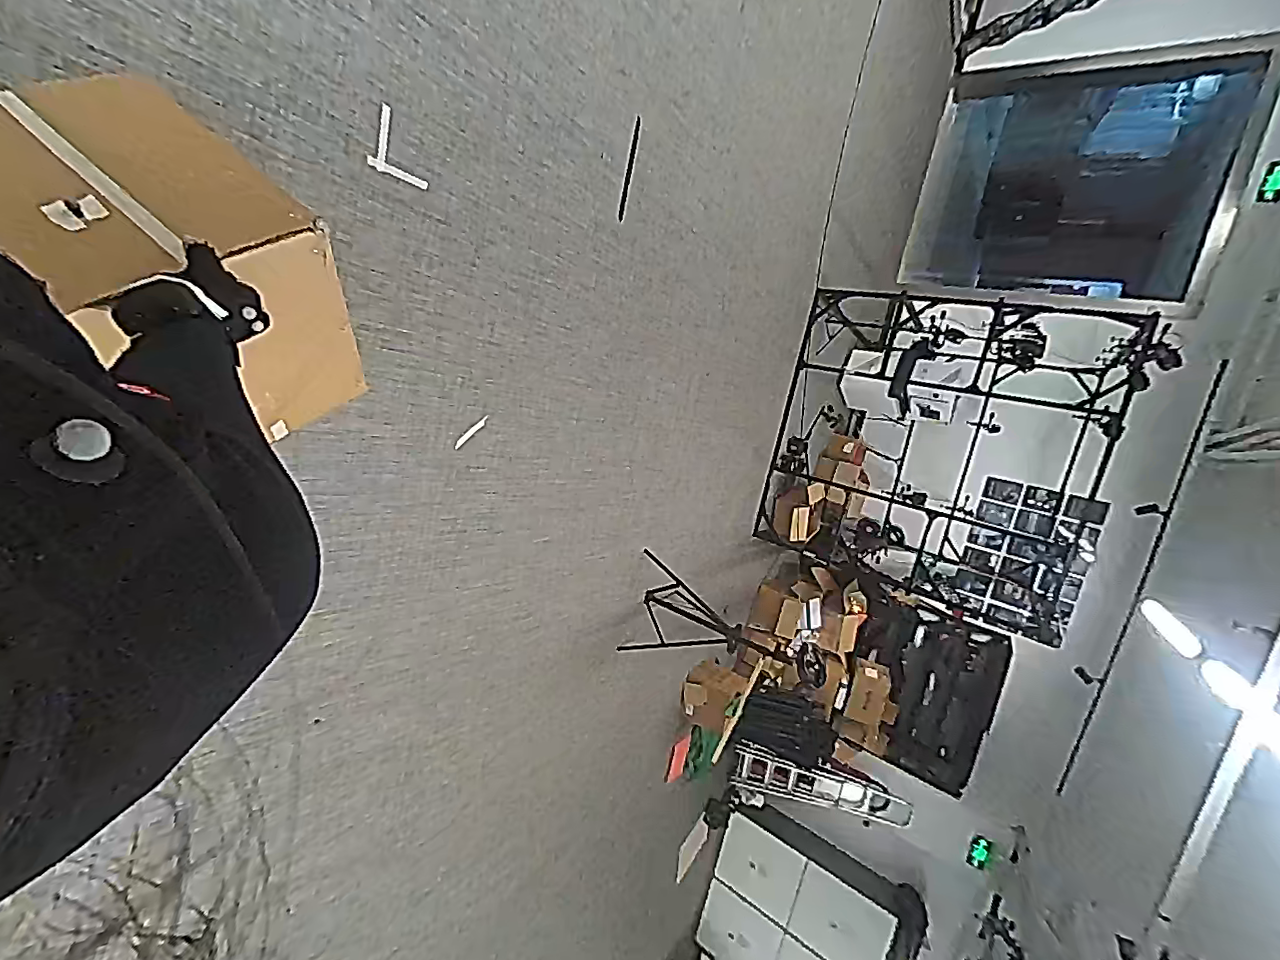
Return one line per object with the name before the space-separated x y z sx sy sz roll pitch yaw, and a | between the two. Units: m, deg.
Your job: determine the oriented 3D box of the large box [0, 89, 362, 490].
large box | -0.680 -0.267 0.768 0.320 0.408 0.320 -44 168 -33
